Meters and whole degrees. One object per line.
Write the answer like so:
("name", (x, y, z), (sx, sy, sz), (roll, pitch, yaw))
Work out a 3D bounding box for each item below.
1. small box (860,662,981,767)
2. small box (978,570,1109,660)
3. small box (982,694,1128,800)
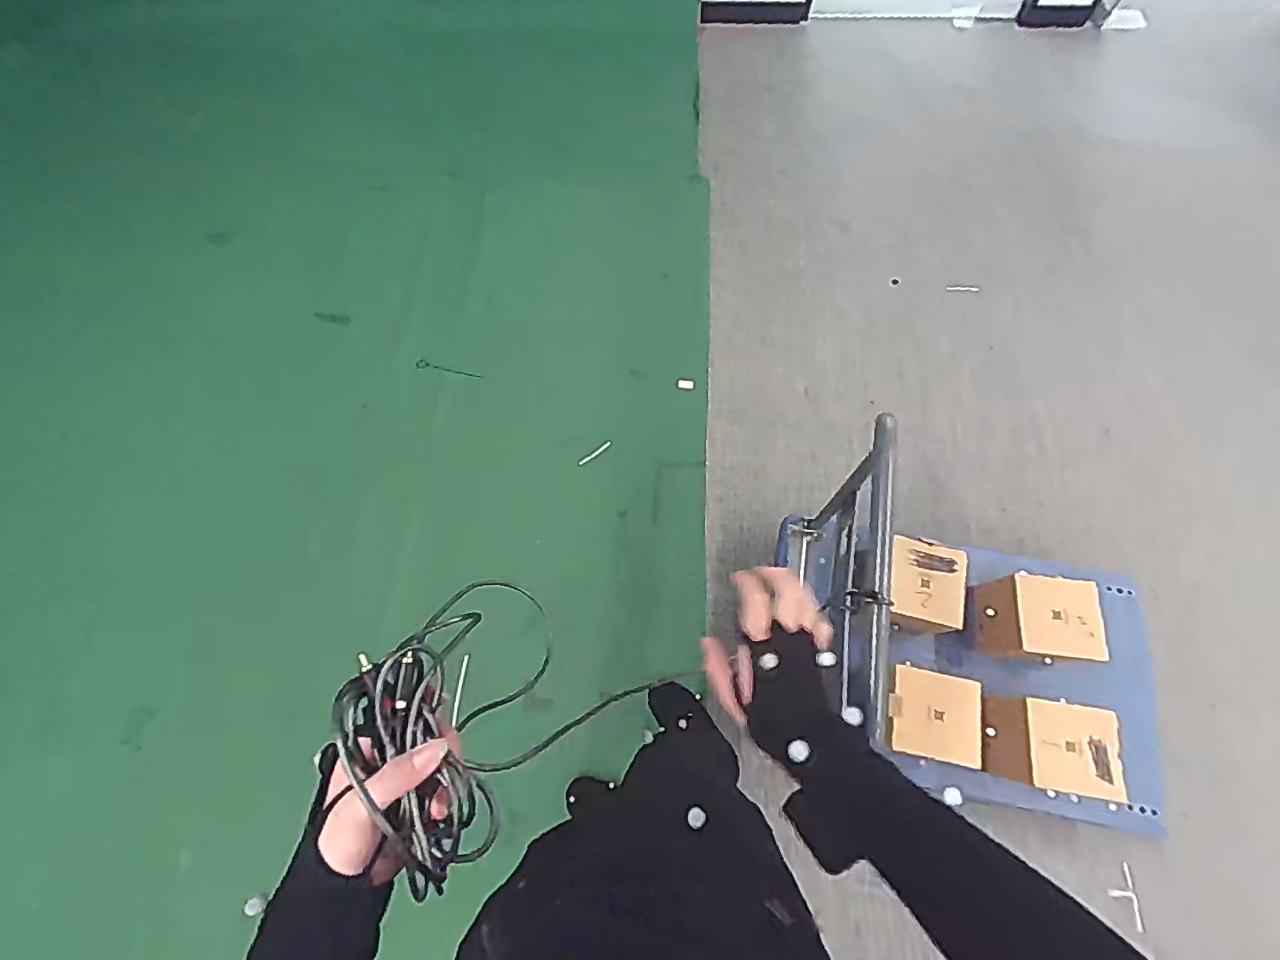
("small box", (0.595, 0.494, 1.157), (0.179, 0.176, 0.168), (11, 70, 6))
("small box", (0.891, 0.309, 1.219), (0.179, 0.176, 0.168), (7, 70, 4))
("small box", (0.853, 0.547, 1.130), (0.179, 0.176, 0.168), (8, 69, 5))
